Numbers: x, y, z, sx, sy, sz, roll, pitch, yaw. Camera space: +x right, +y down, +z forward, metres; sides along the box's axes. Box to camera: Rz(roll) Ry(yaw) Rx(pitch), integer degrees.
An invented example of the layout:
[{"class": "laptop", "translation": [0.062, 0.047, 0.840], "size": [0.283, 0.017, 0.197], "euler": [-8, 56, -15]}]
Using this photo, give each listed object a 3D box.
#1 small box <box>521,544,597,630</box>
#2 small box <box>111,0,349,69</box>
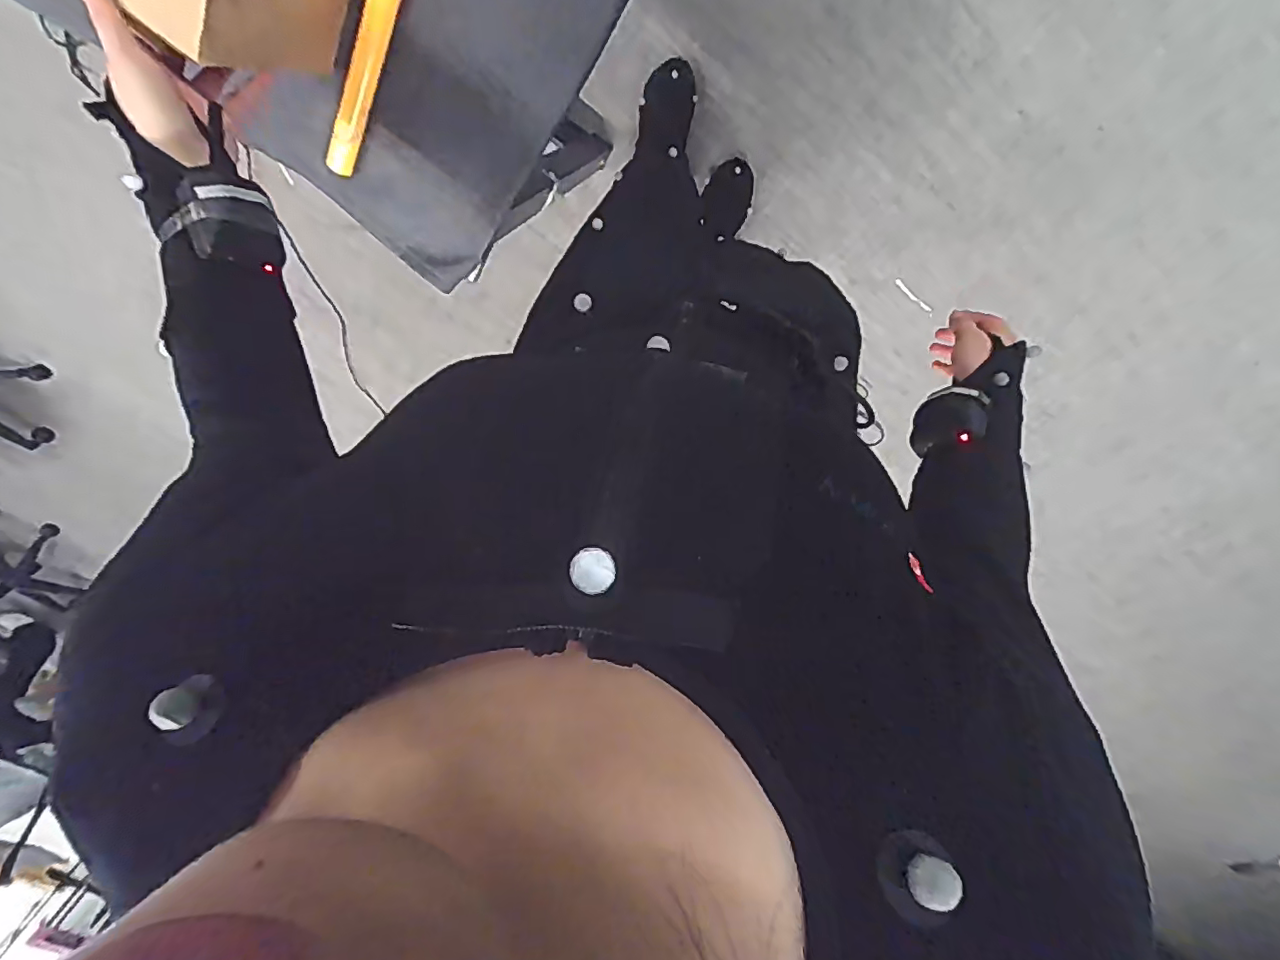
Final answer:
[{"class": "small box", "translation": [-0.249, 0.335, 1.711], "size": [0.168, 0.176, 0.179], "euler": [28, 127, -11]}, {"class": "small box", "translation": [-0.332, -0.454, 0.409], "size": [0.168, 0.176, 0.179], "euler": [33, 124, -14]}]
